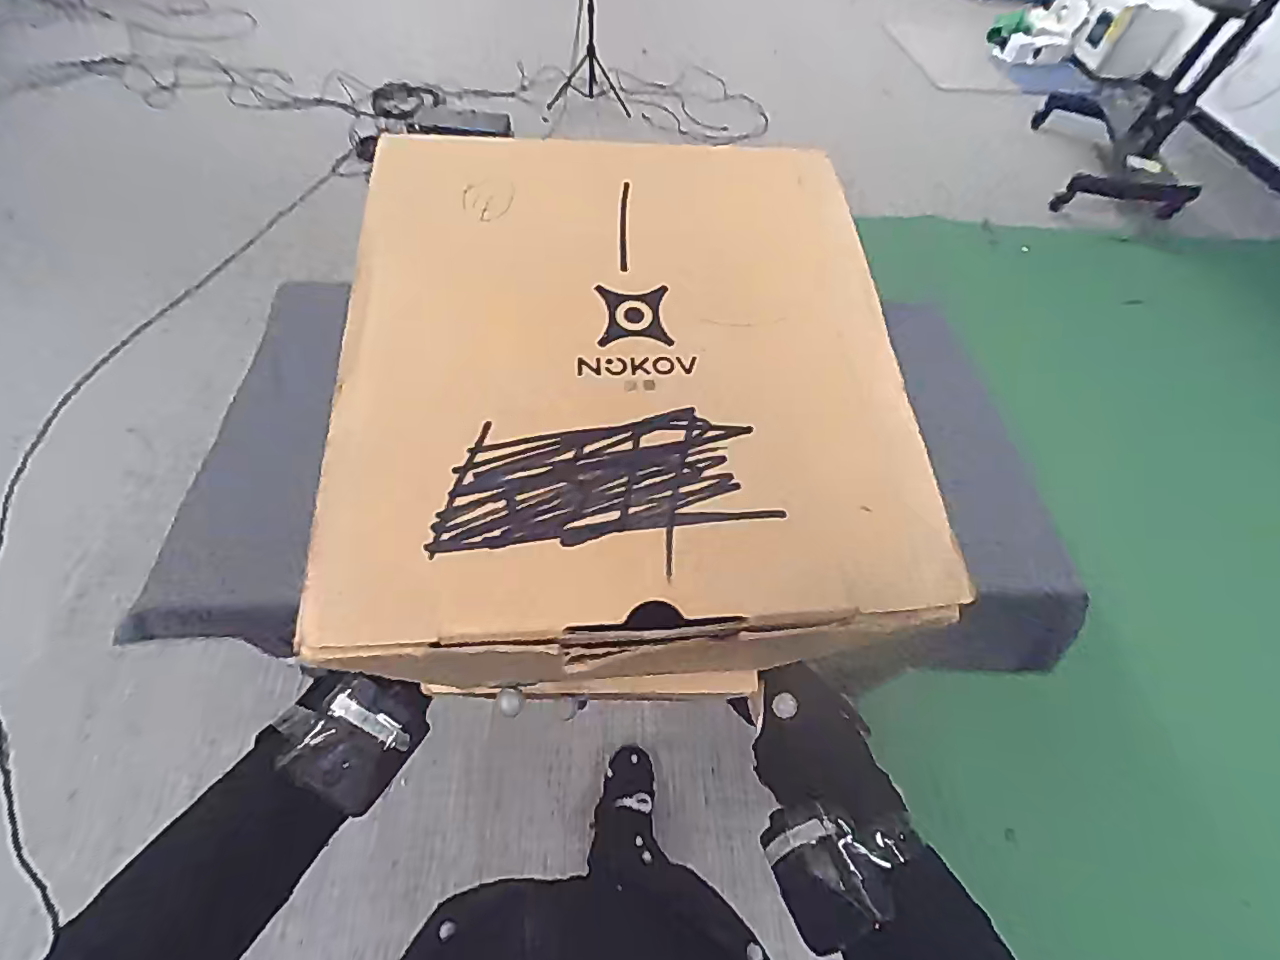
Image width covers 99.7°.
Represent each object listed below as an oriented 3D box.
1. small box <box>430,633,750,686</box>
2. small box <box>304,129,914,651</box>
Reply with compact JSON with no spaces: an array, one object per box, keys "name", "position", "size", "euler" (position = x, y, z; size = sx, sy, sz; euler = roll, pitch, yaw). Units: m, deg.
[{"name":"small box","position":[-0.035,0.054,0.396],"size":[0.179,0.176,0.168],"euler":[0,65,-6]},{"name":"small box","position":[-0.016,-0.020,0.247],"size":[0.168,0.176,0.179],"euler":[-2,66,-7]}]
